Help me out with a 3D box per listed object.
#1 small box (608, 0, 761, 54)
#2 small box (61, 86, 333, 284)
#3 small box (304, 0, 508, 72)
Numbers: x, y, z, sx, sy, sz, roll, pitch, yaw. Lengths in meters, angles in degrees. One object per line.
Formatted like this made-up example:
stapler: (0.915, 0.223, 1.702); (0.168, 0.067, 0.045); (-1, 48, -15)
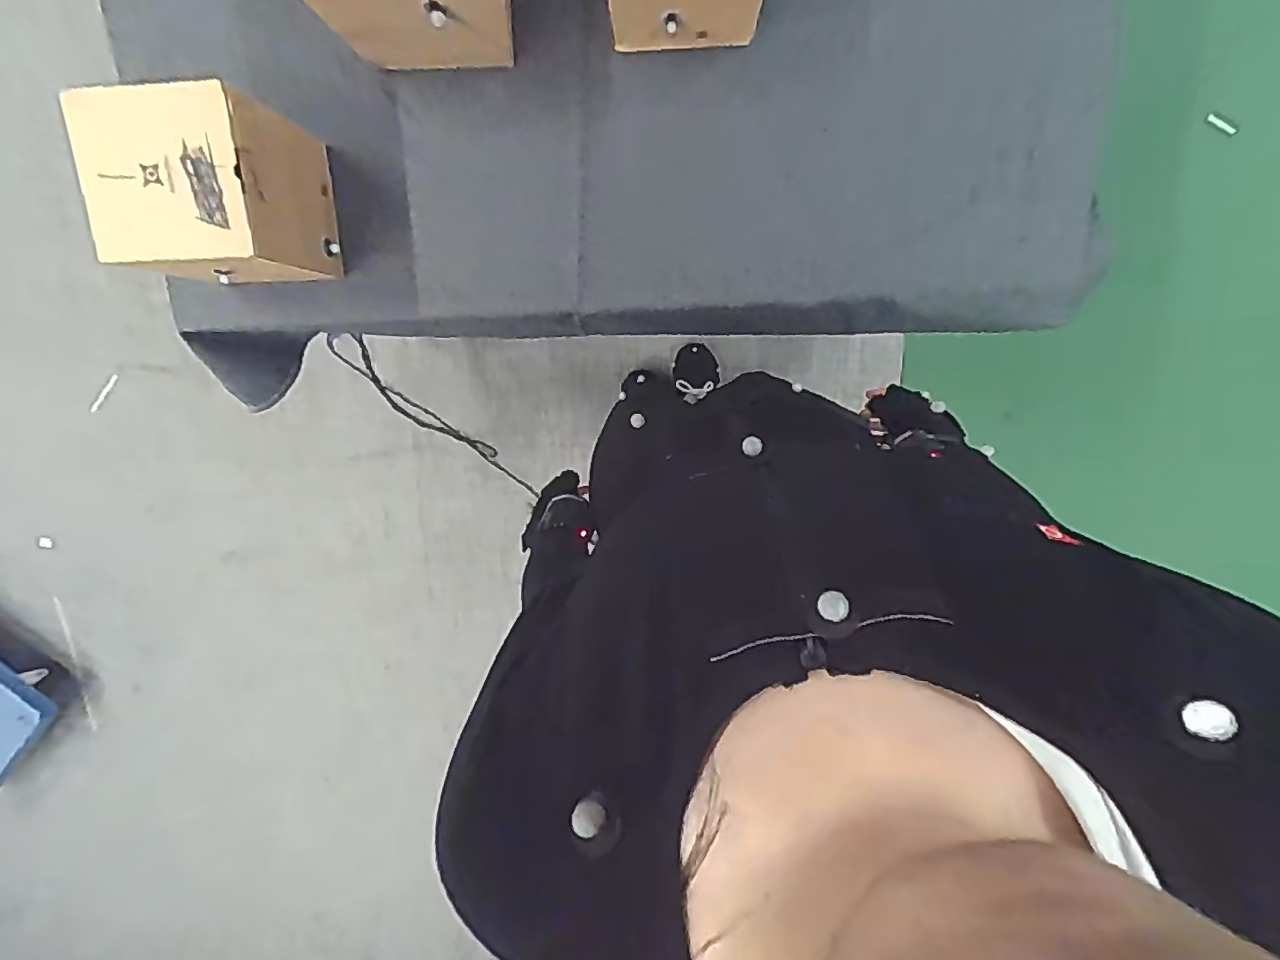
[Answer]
small box: (0.045, -0.586, 0.558); (0.168, 0.176, 0.179); (-1, 104, 2)
small box: (-0.488, -0.328, 0.632); (0.179, 0.176, 0.168); (-1, 102, 3)
small box: (-0.243, -0.563, 0.569); (0.179, 0.176, 0.168); (0, 104, 2)
